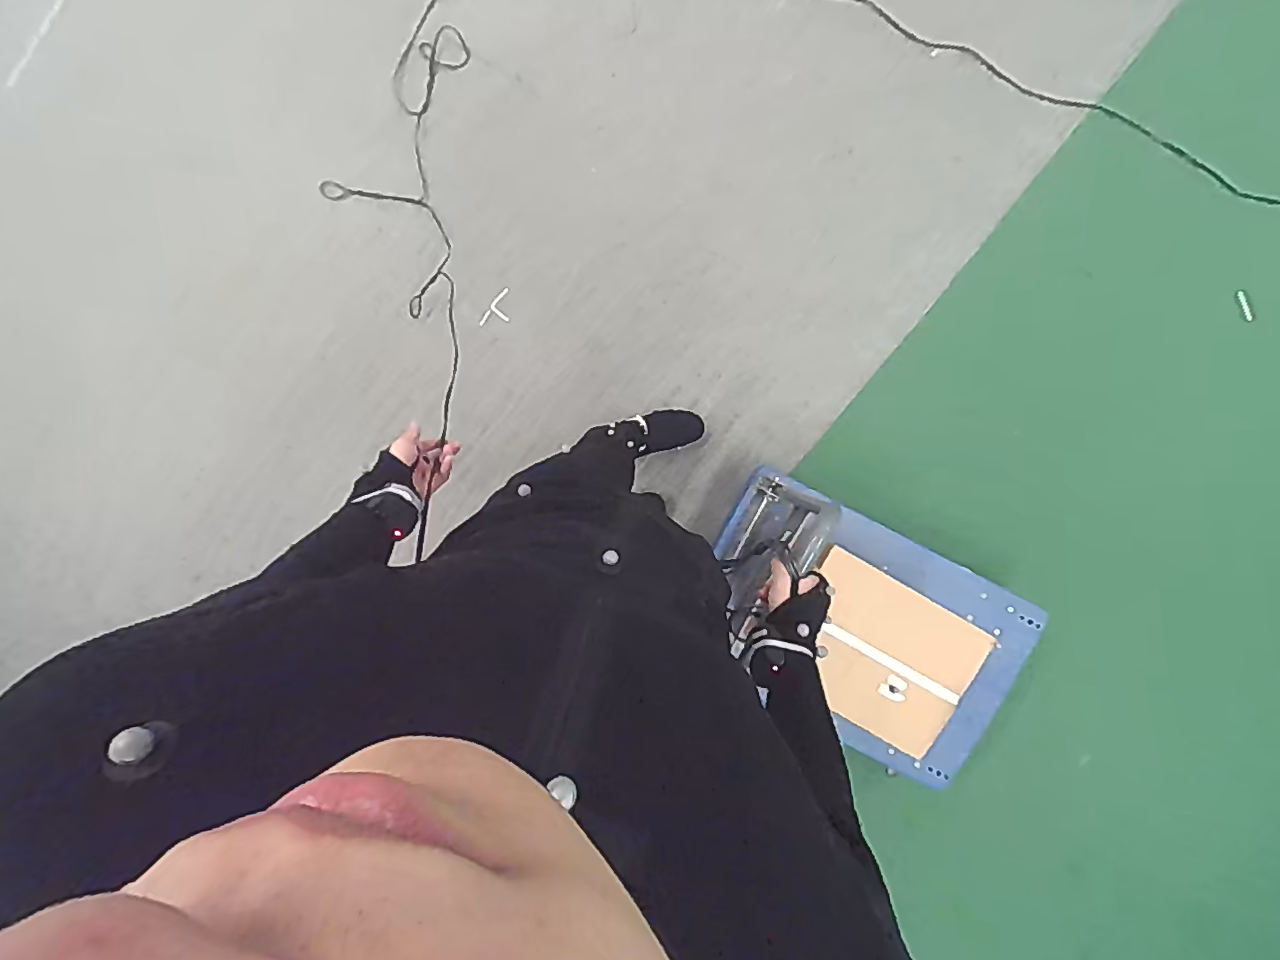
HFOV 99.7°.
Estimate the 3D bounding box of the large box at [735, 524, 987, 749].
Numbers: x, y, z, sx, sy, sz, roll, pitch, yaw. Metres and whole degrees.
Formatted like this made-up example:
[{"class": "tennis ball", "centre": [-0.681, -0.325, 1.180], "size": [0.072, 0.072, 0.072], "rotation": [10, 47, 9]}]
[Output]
[{"class": "large box", "centre": [0.496, 0.347, 1.304], "size": [0.408, 0.320, 0.320], "rotation": [30, 95, -2]}]
